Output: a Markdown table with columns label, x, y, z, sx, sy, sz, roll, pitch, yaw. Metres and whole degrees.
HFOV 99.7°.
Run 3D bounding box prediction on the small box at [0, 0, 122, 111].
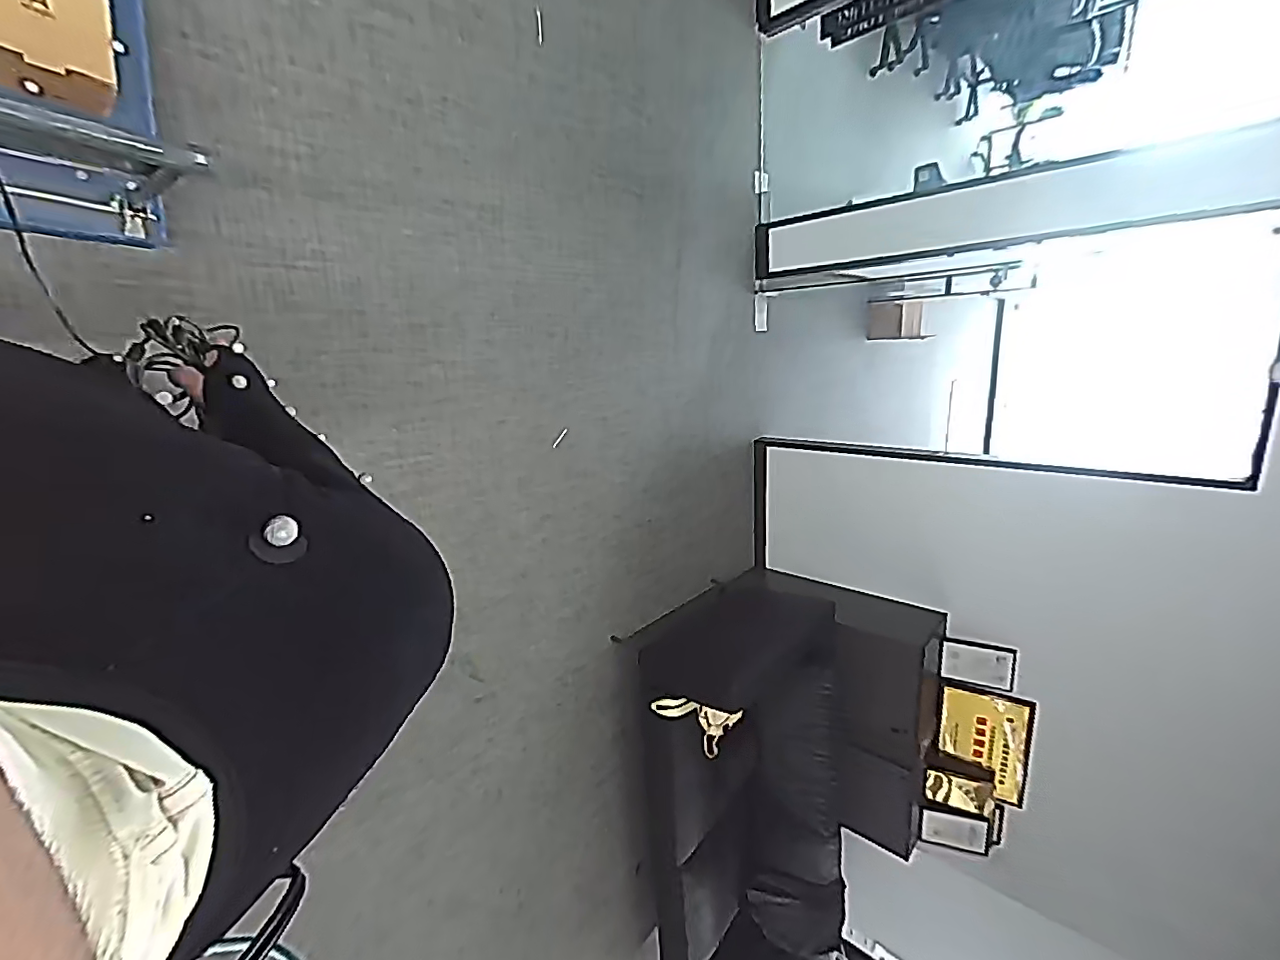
| label | x | y | z | sx | sy | sz | roll | pitch | yaw |
| --- | --- | --- | --- | --- | --- | --- | --- | --- | --- |
| small box | -0.979 | -0.751 | 0.886 | 0.168 | 0.176 | 0.179 | -8 | 105 | -47 |
